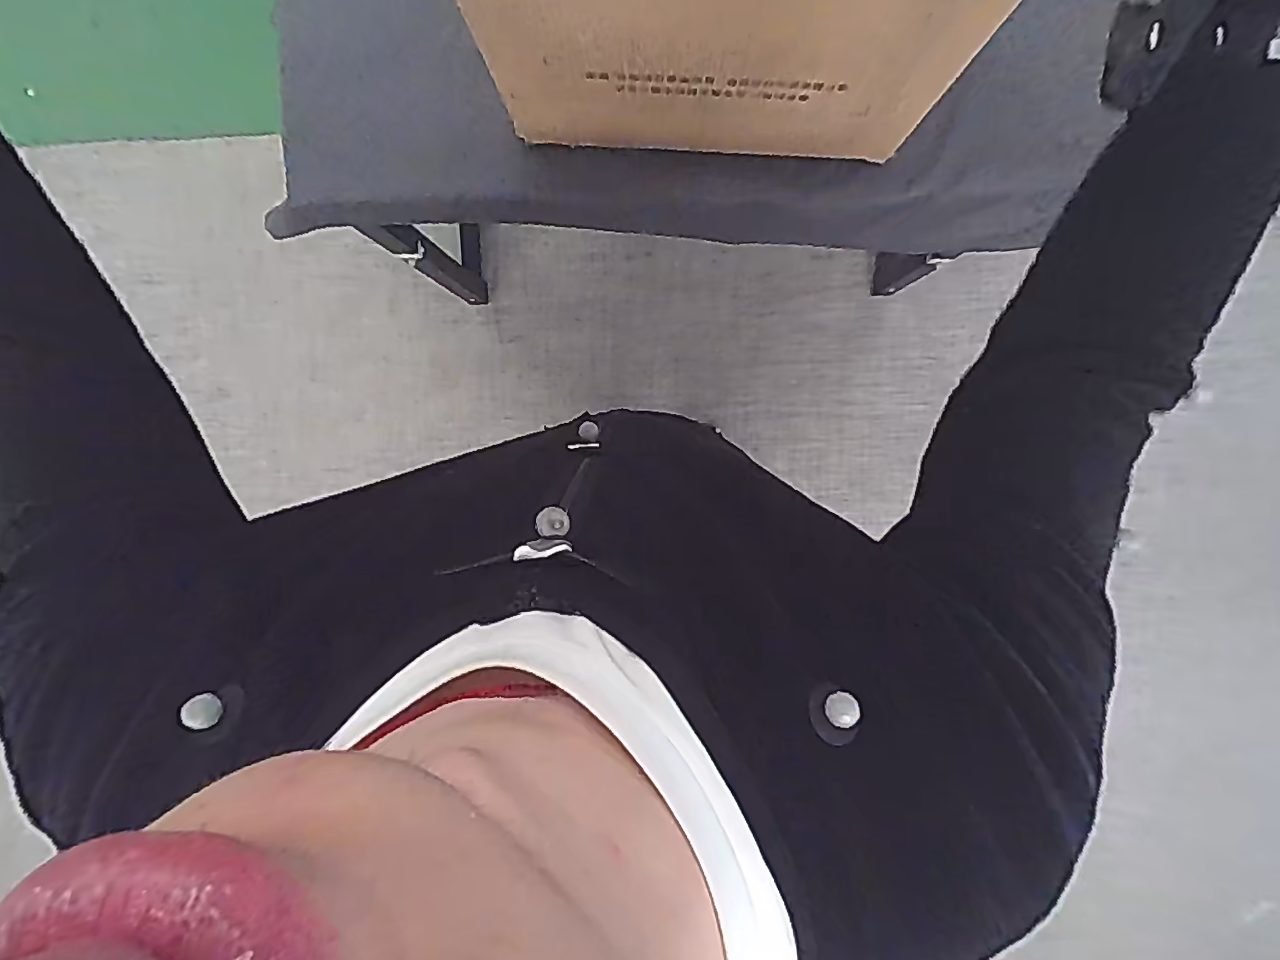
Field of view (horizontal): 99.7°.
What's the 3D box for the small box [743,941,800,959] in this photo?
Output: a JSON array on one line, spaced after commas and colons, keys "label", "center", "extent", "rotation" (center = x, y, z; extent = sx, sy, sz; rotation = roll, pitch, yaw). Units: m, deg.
[{"label": "small box", "center": [0.426, 1.548, 1.625], "extent": [0.179, 0.176, 0.168], "rotation": [-23, 97, 2]}]
